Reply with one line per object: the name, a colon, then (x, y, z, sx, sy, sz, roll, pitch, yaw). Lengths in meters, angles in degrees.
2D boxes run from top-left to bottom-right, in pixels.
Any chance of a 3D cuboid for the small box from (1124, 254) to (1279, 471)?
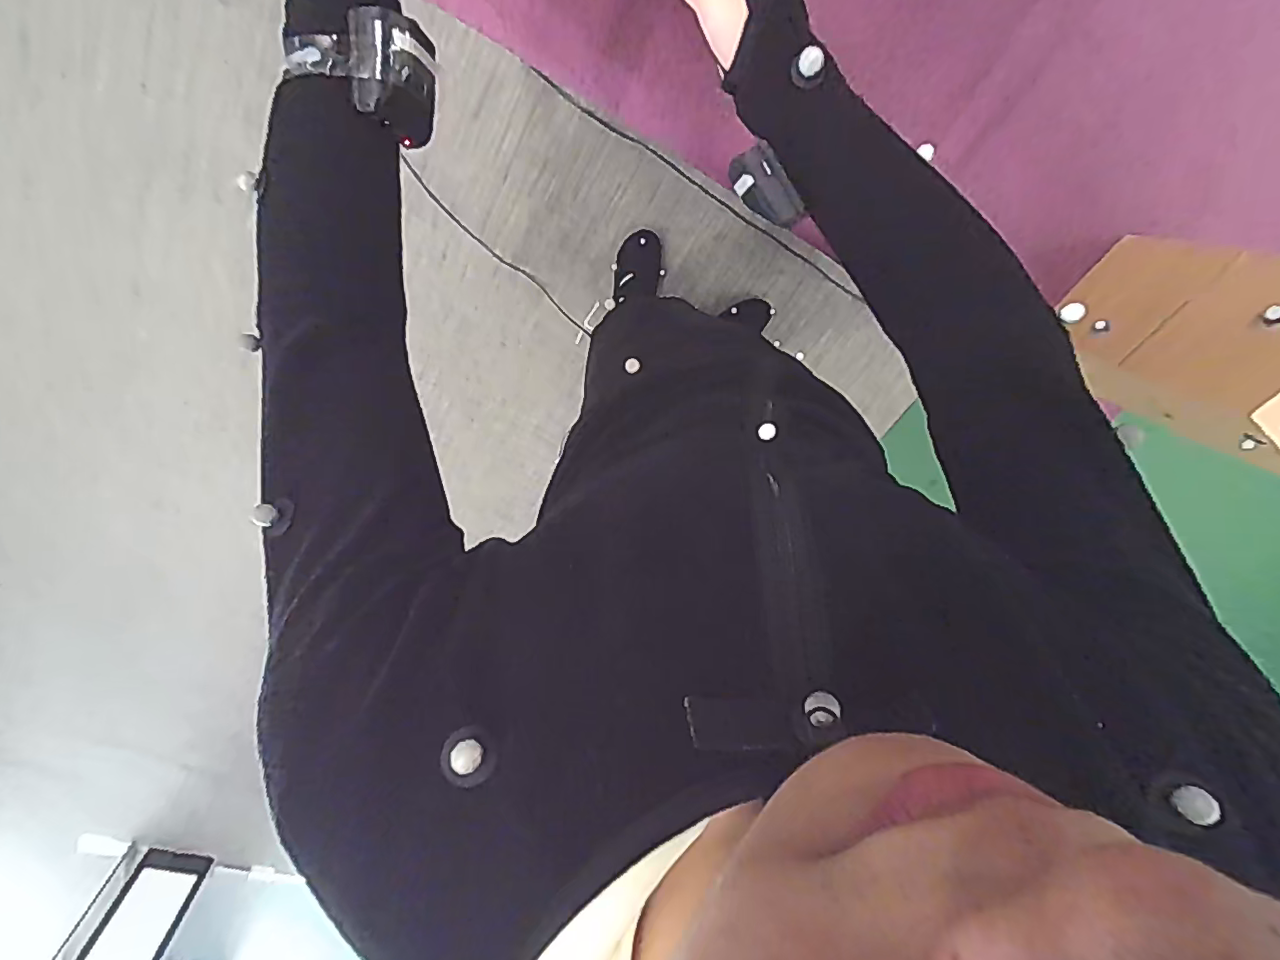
small box: (0.727, -0.133, 0.614, 0.168, 0.176, 0.179, 30, 112, -18)
